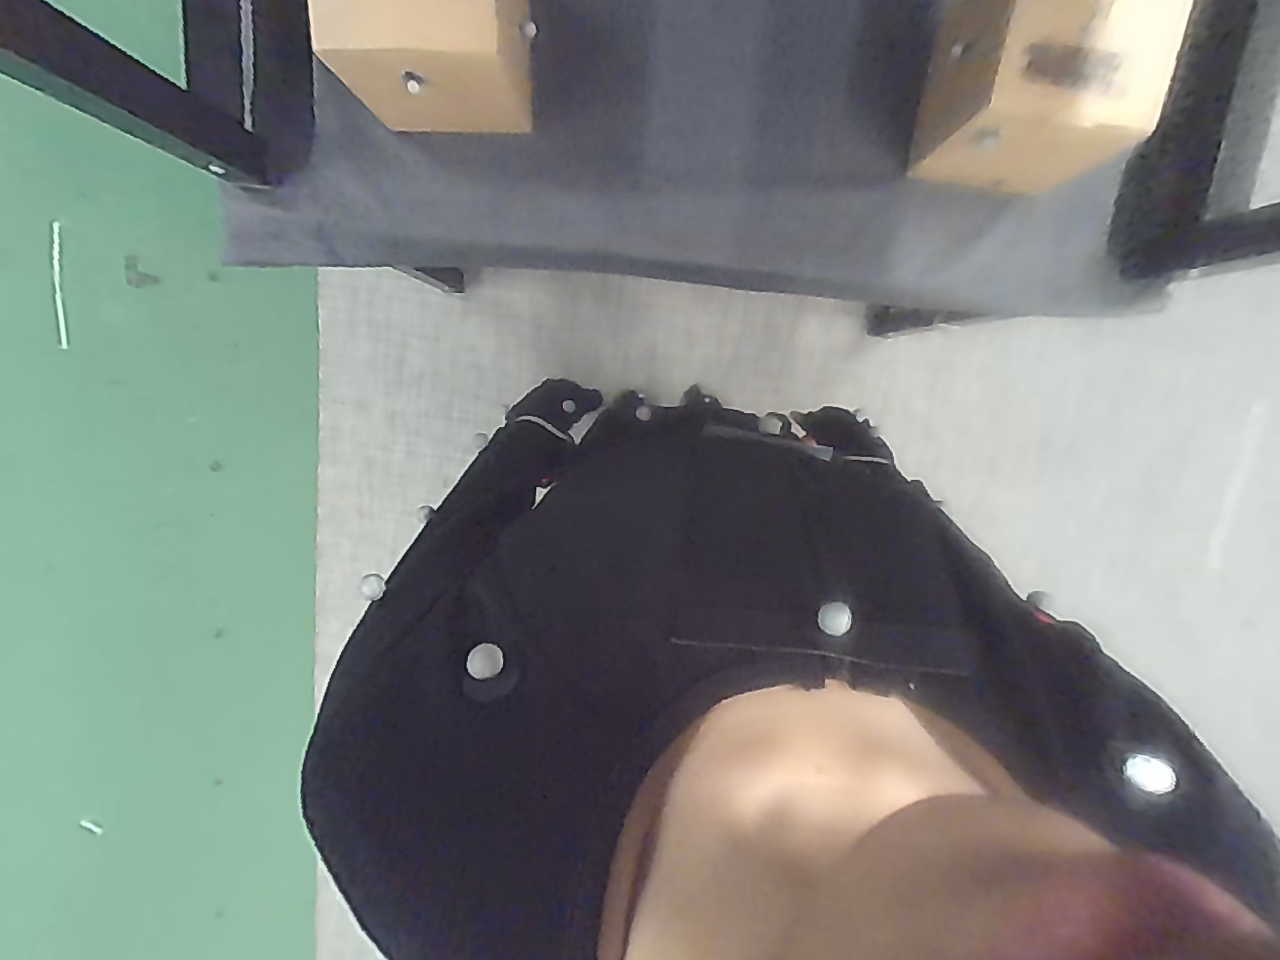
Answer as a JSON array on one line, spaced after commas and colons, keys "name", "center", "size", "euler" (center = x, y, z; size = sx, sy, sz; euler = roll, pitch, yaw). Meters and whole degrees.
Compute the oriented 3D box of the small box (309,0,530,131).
[{"name": "small box", "center": [-0.220, -0.494, 0.571], "size": [0.179, 0.176, 0.168], "euler": [1, 101, -1]}]
